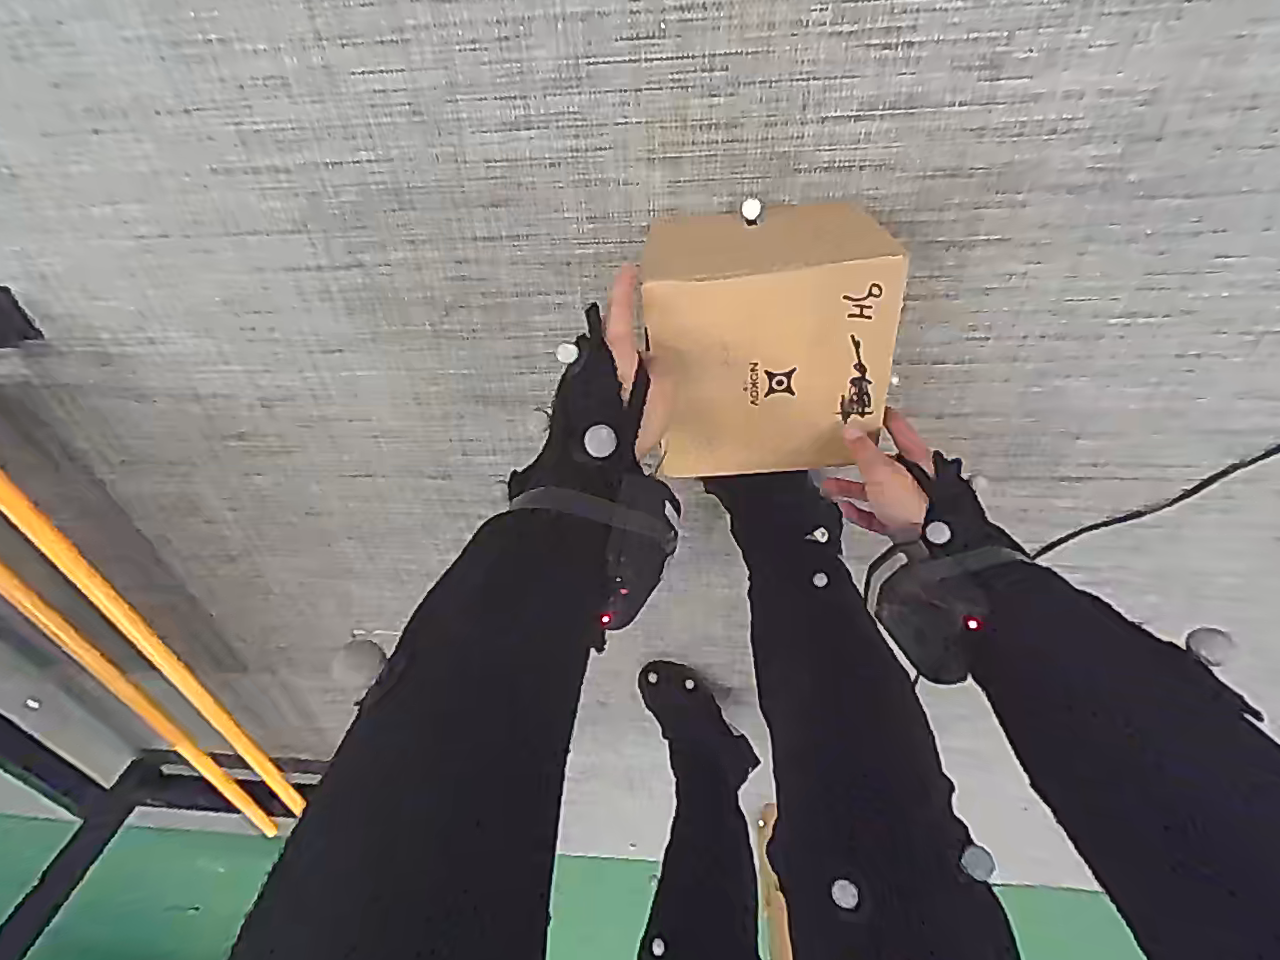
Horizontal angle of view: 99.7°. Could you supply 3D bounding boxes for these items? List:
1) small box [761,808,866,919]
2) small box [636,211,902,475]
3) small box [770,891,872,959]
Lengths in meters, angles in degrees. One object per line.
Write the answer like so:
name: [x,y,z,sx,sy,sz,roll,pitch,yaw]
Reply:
small box: [0.367,0.844,1.186,0.179,0.176,0.168,2,128,3]
small box: [0.100,-0.121,0.468,0.179,0.176,0.168,-3,127,9]
small box: [0.351,0.931,1.049,0.168,0.176,0.179,-1,127,4]
